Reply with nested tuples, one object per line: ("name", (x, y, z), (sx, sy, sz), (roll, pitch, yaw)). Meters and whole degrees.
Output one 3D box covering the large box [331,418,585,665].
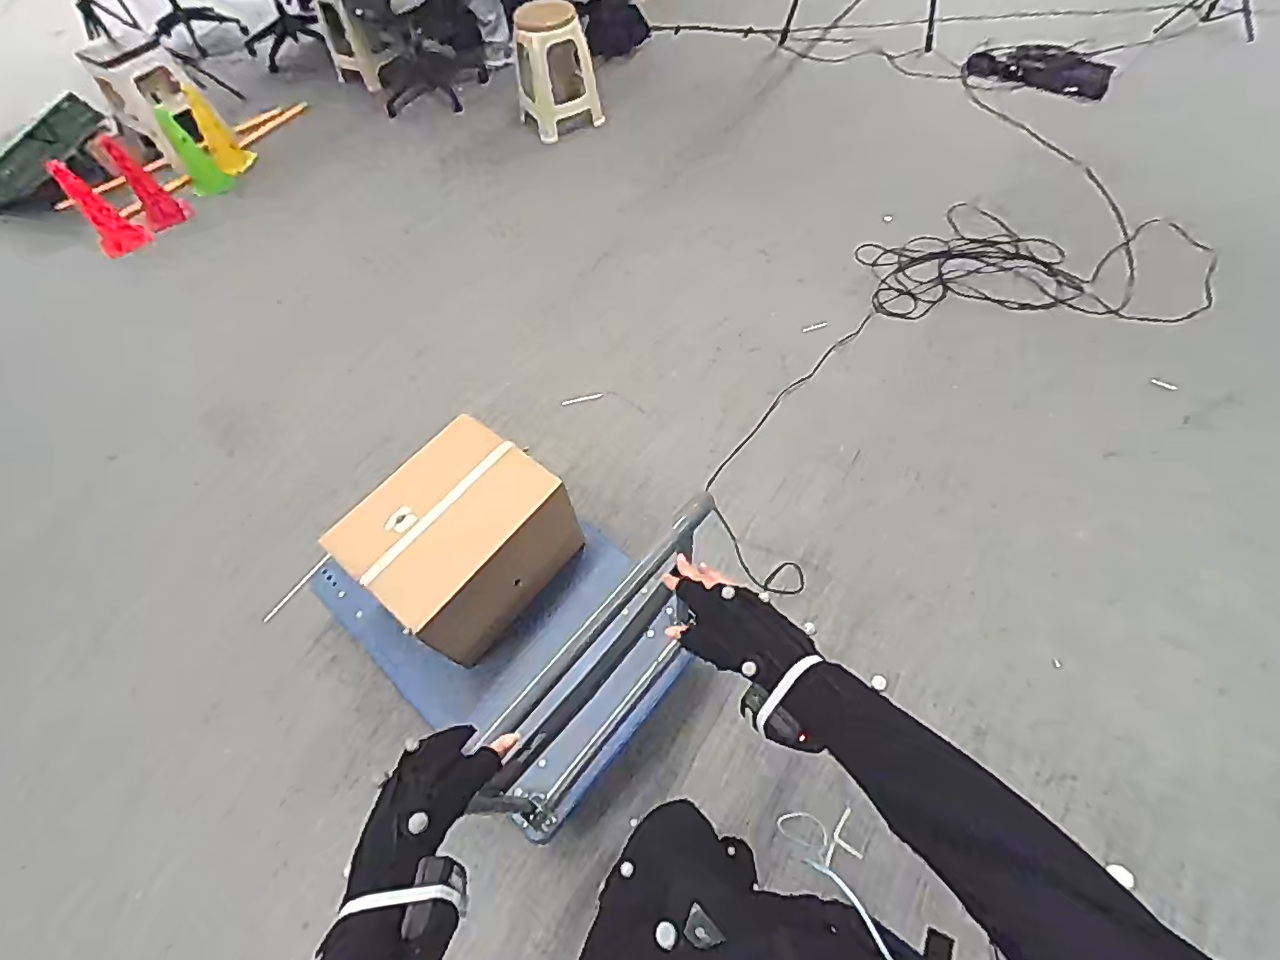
("large box", (-0.383, 0.145, 1.245), (0.320, 0.320, 0.408), (32, 68, 22))
